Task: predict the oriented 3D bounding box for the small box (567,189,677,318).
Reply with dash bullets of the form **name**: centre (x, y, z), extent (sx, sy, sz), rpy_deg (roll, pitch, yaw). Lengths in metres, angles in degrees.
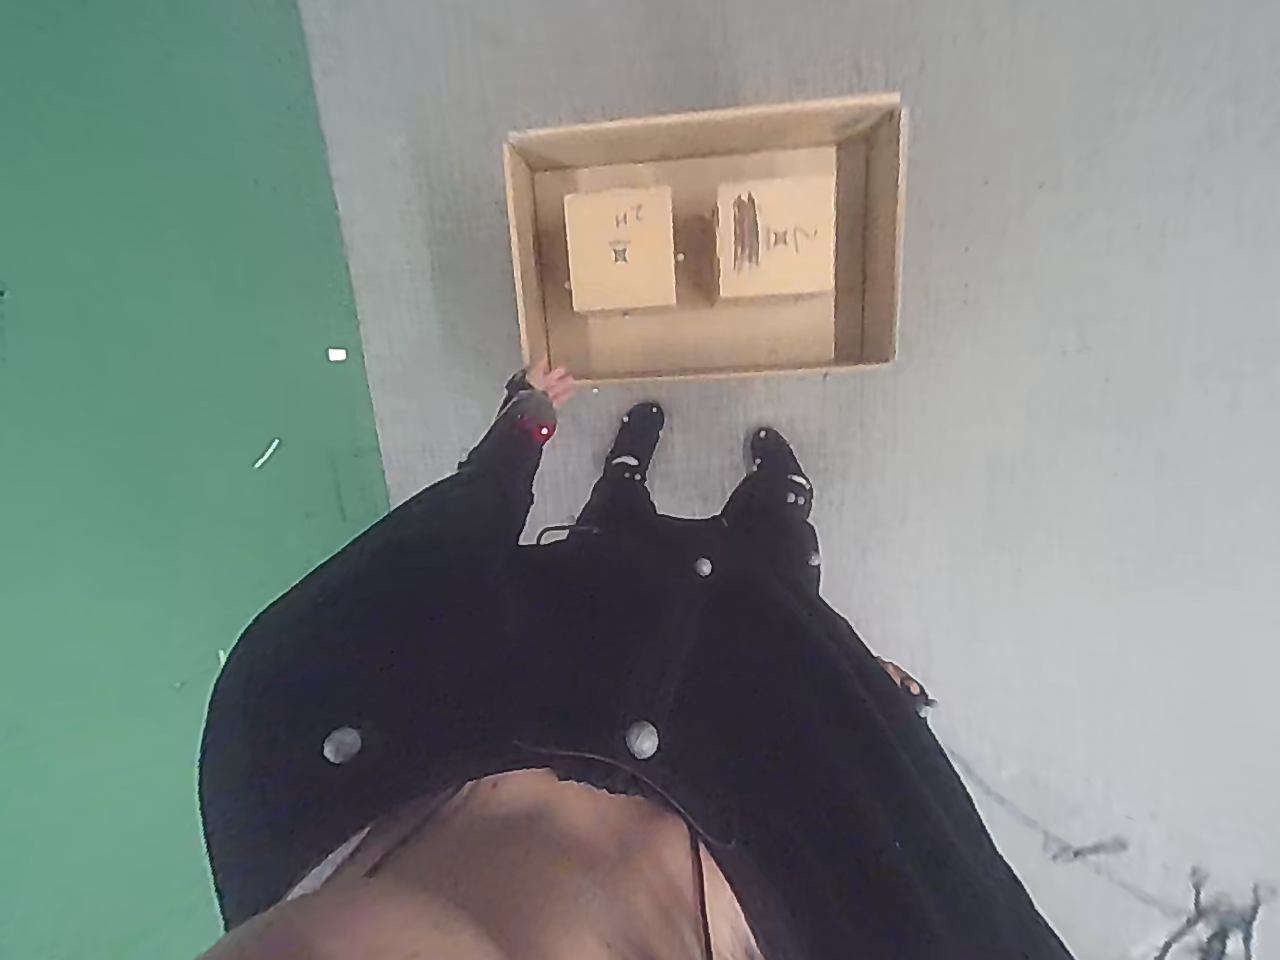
- **small box**: centre (-0.022, -0.368, 0.912), extent (0.168, 0.176, 0.179), rpy_deg (-2, 102, 4)
